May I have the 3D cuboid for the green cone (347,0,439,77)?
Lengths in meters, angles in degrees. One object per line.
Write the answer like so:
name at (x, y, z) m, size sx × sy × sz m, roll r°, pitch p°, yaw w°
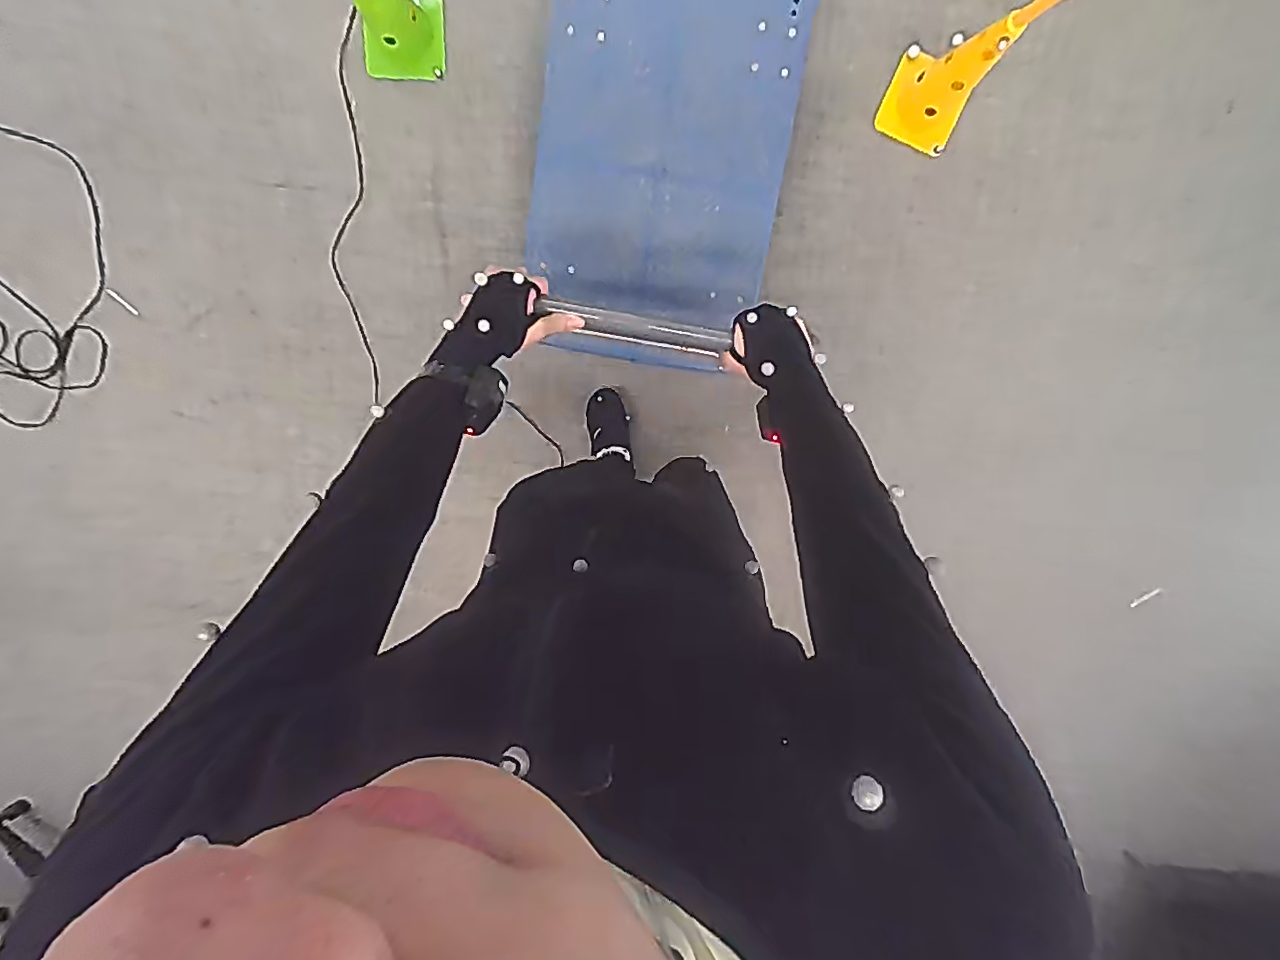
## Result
green cone at (-0.601, -1.070, 1.162) m, size 0.202 × 0.368 × 0.200 m, roll 1°, pitch 103°, yaw 1°
